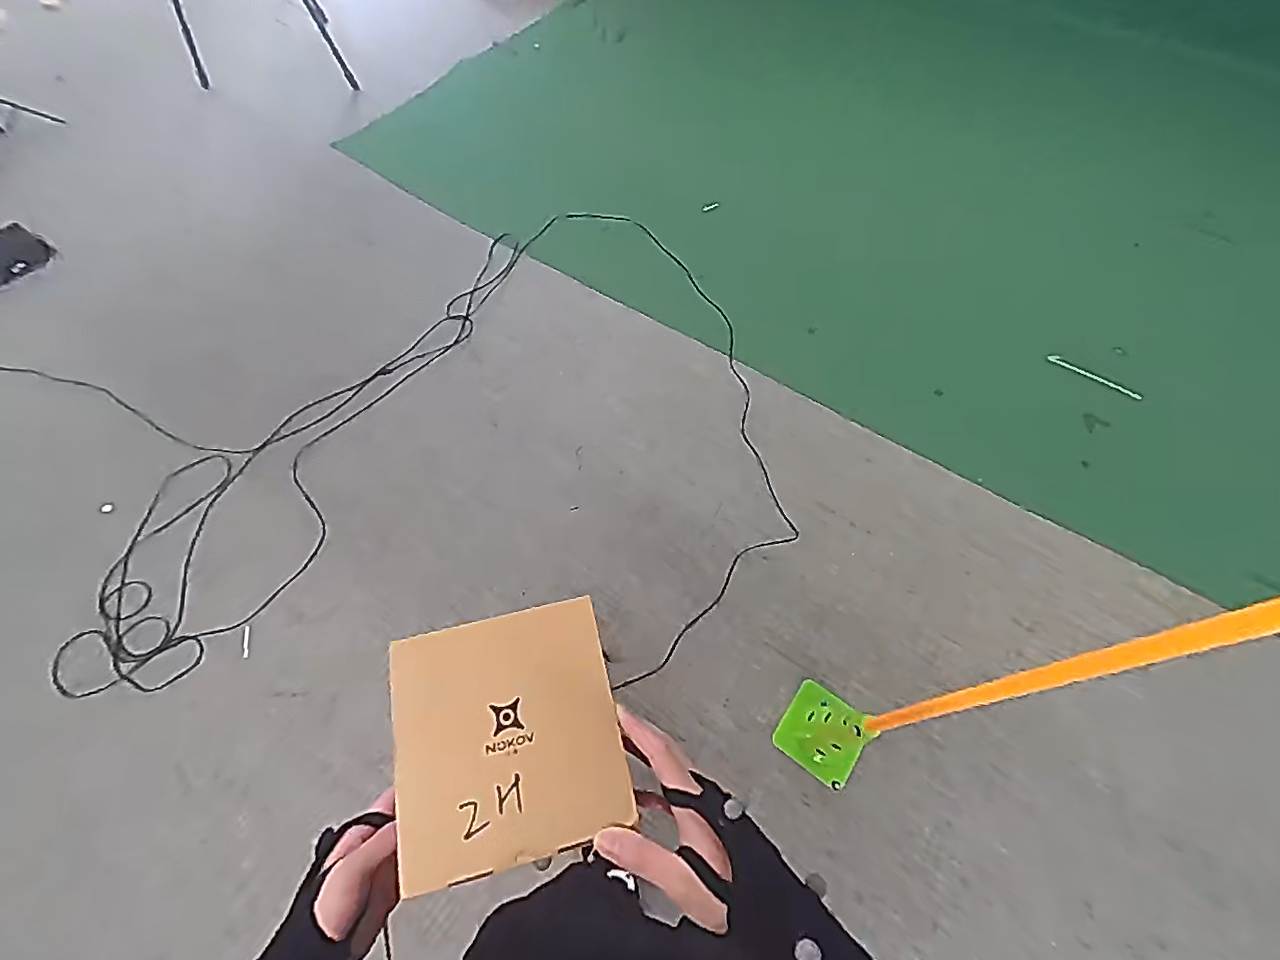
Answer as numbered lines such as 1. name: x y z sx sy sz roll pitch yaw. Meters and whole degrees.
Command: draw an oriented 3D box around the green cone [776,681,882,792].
1. green cone: 0.469 0.563 1.226 0.202 0.368 0.200 32 66 18
